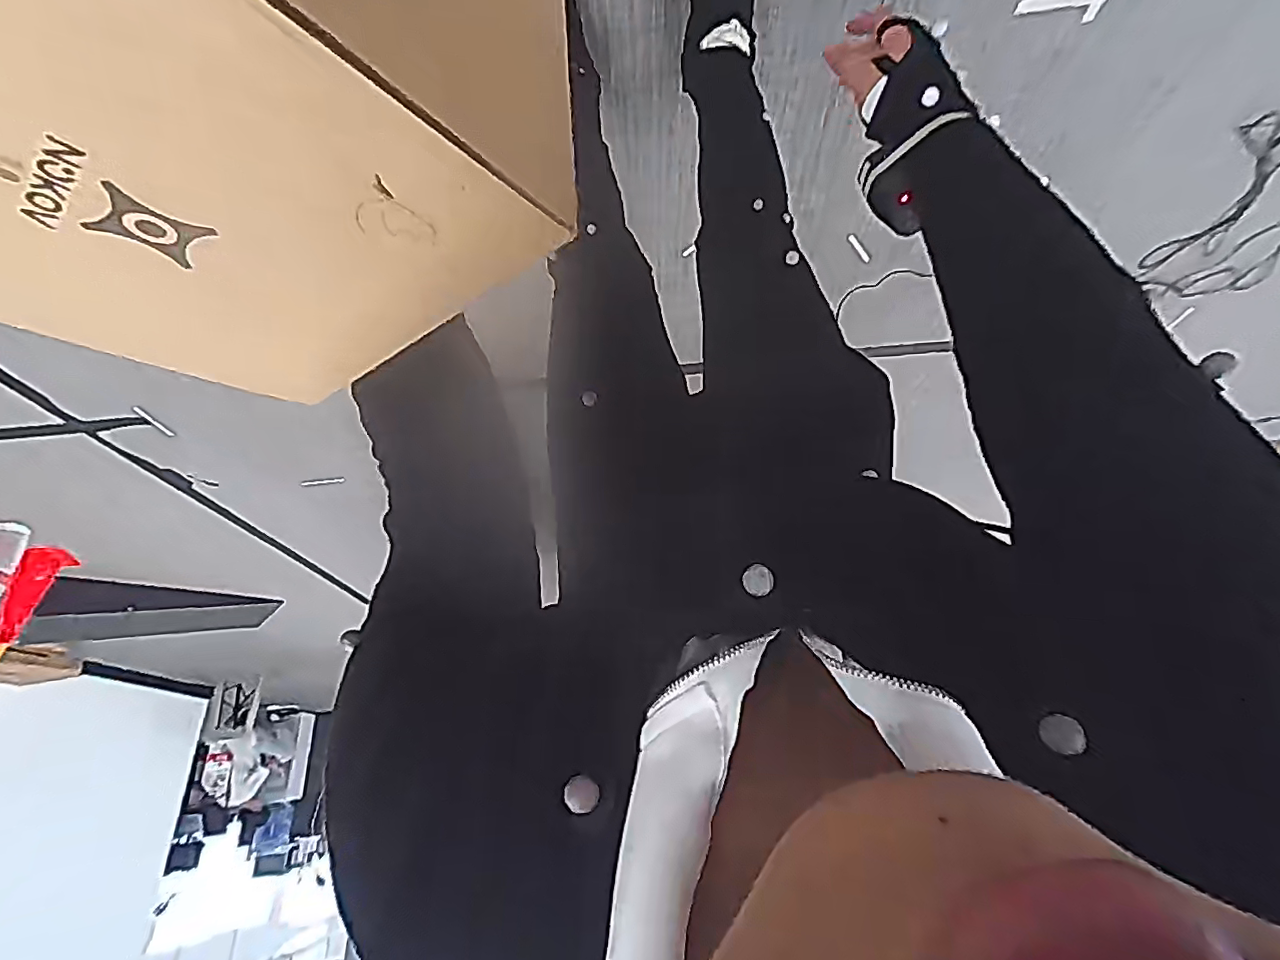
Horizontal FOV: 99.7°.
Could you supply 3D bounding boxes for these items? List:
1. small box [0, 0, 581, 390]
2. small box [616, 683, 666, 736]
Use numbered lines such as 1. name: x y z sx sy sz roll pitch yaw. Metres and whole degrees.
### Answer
1. small box: -0.137 -0.155 0.172 0.168 0.176 0.179 -17 159 33
2. small box: 0.000 0.903 2.127 0.179 0.176 0.168 -5 150 -3
